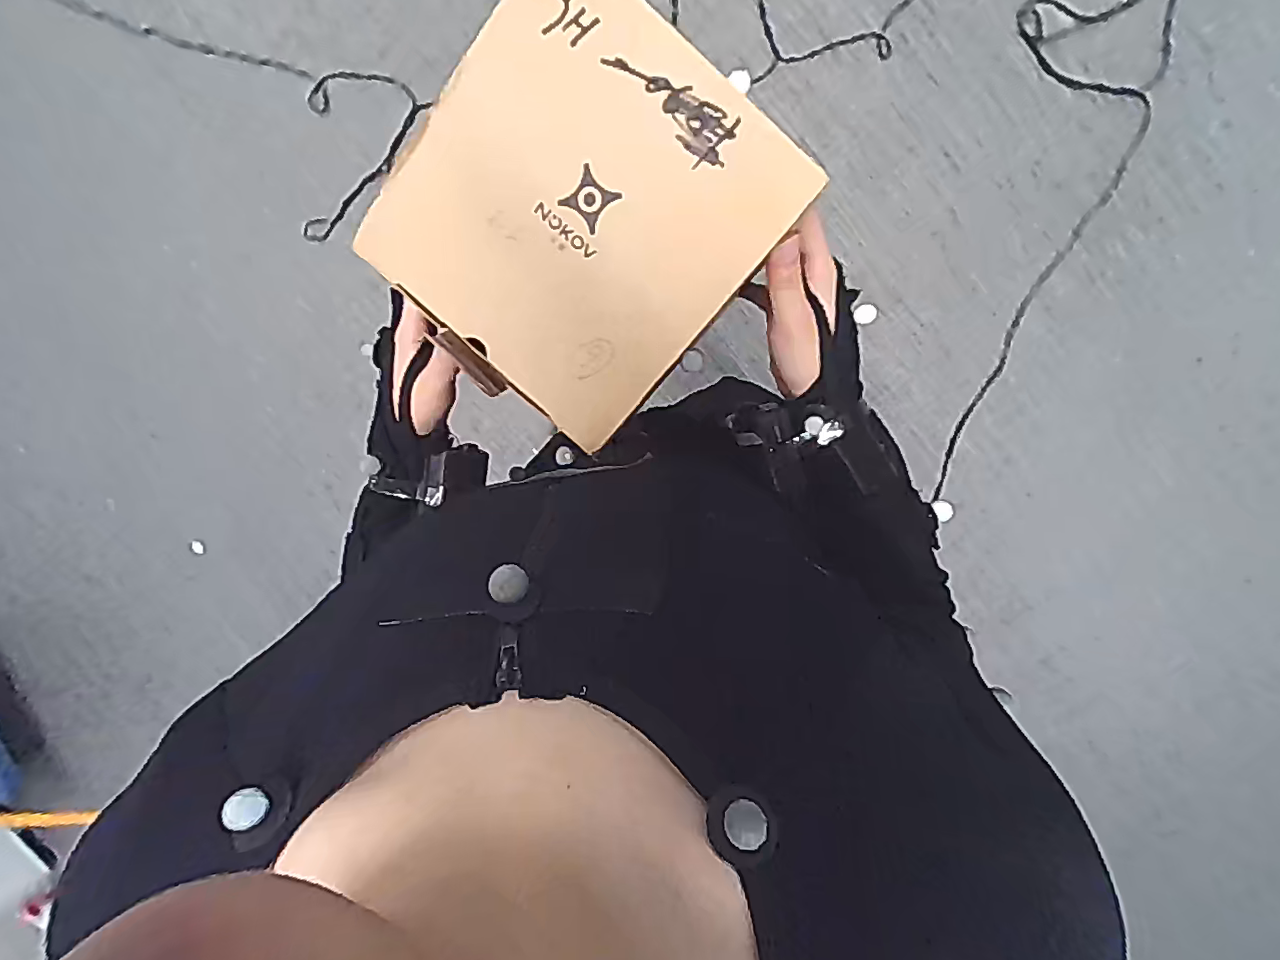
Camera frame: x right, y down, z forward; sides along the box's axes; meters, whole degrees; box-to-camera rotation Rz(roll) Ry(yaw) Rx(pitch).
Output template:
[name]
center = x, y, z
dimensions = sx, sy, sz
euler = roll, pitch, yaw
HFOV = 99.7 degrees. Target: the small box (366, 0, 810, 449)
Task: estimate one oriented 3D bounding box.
[small box]
center = -0.022, -0.147, 0.348
dimensions = 0.168, 0.176, 0.179
euler = 41, 104, -5
